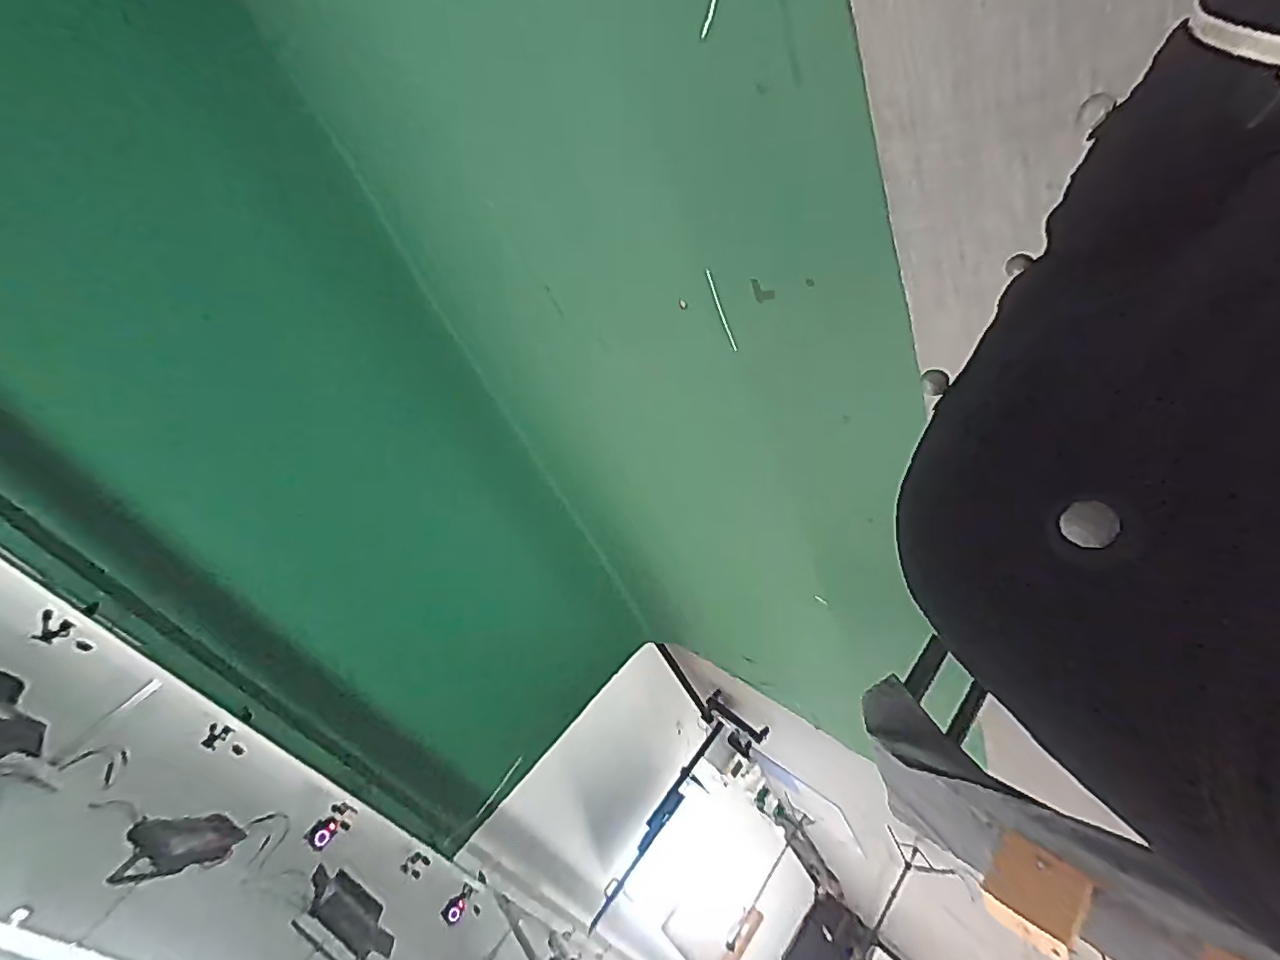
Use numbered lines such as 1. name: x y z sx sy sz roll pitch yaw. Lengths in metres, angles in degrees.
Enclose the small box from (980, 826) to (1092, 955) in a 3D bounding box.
1. small box: 0.971 0.993 1.328 0.179 0.176 0.168 17 144 49
